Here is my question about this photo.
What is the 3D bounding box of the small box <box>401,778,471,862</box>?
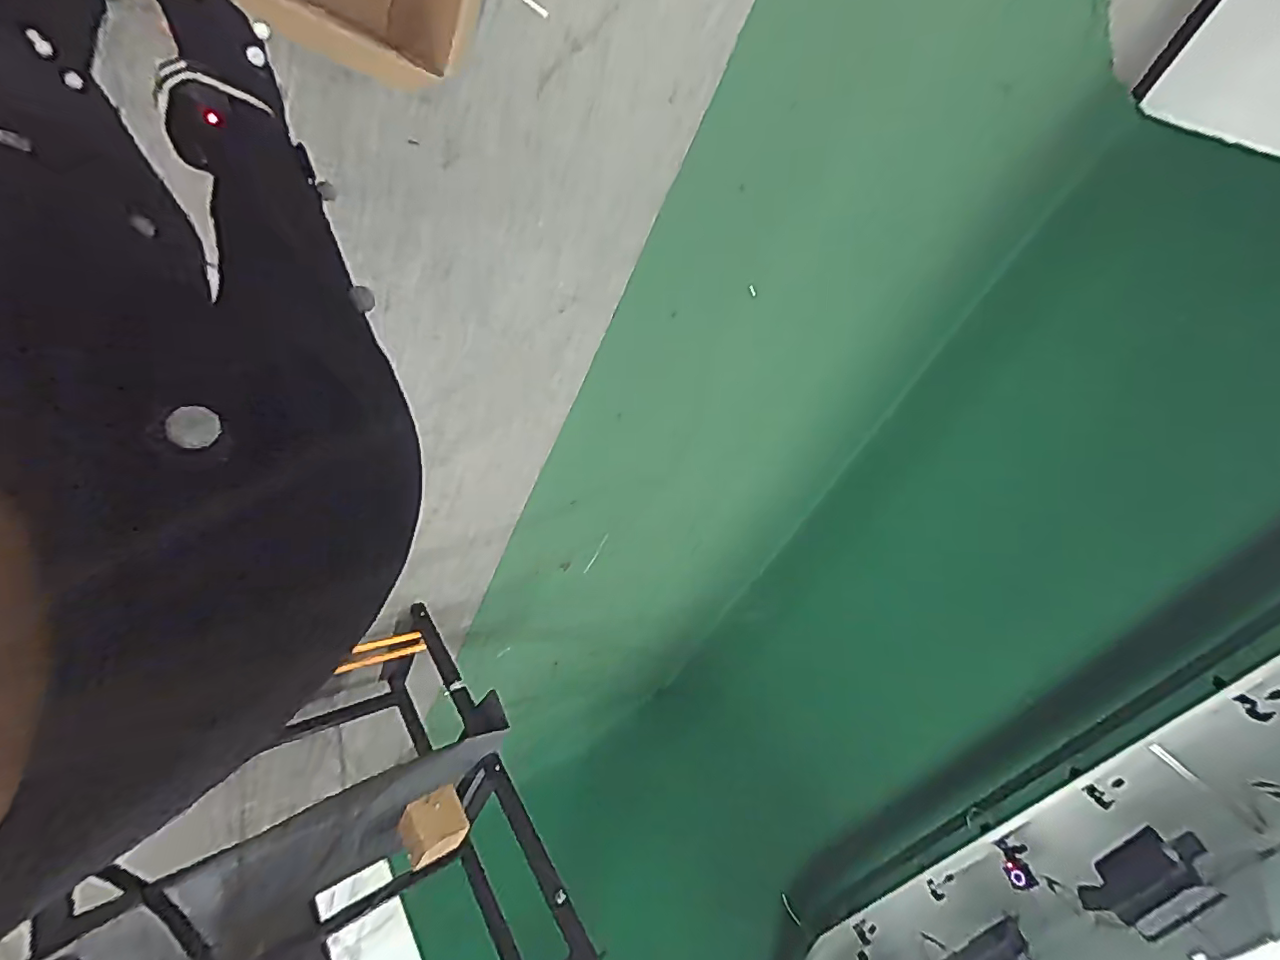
[{"bbox_3d":[-0.742,1.221,1.952,0.168,0.176,0.179,-6,135,-46],"label":"small box"}]
